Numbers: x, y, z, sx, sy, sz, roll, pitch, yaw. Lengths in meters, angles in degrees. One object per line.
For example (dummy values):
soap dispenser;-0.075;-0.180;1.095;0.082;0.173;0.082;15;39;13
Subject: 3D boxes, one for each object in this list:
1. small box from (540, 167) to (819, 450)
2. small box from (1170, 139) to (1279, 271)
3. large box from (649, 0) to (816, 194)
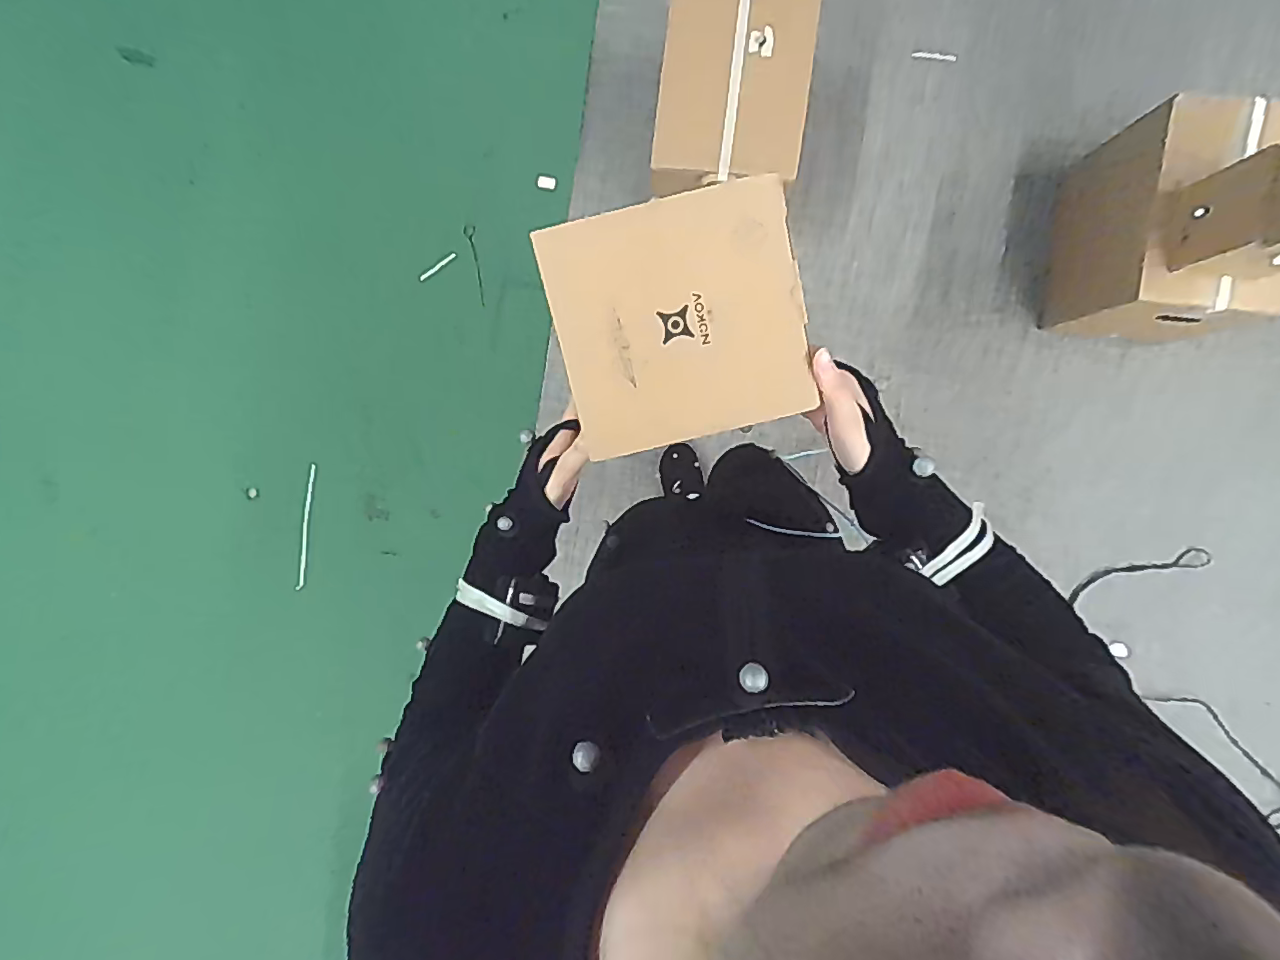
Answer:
small box;0.030;-0.132;0.460;0.179;0.176;0.168;-13;101;2
small box;1.146;-0.490;0.987;0.179;0.176;0.168;6;95;5
large box;0.205;-0.854;1.269;0.320;0.320;0.408;7;94;4
